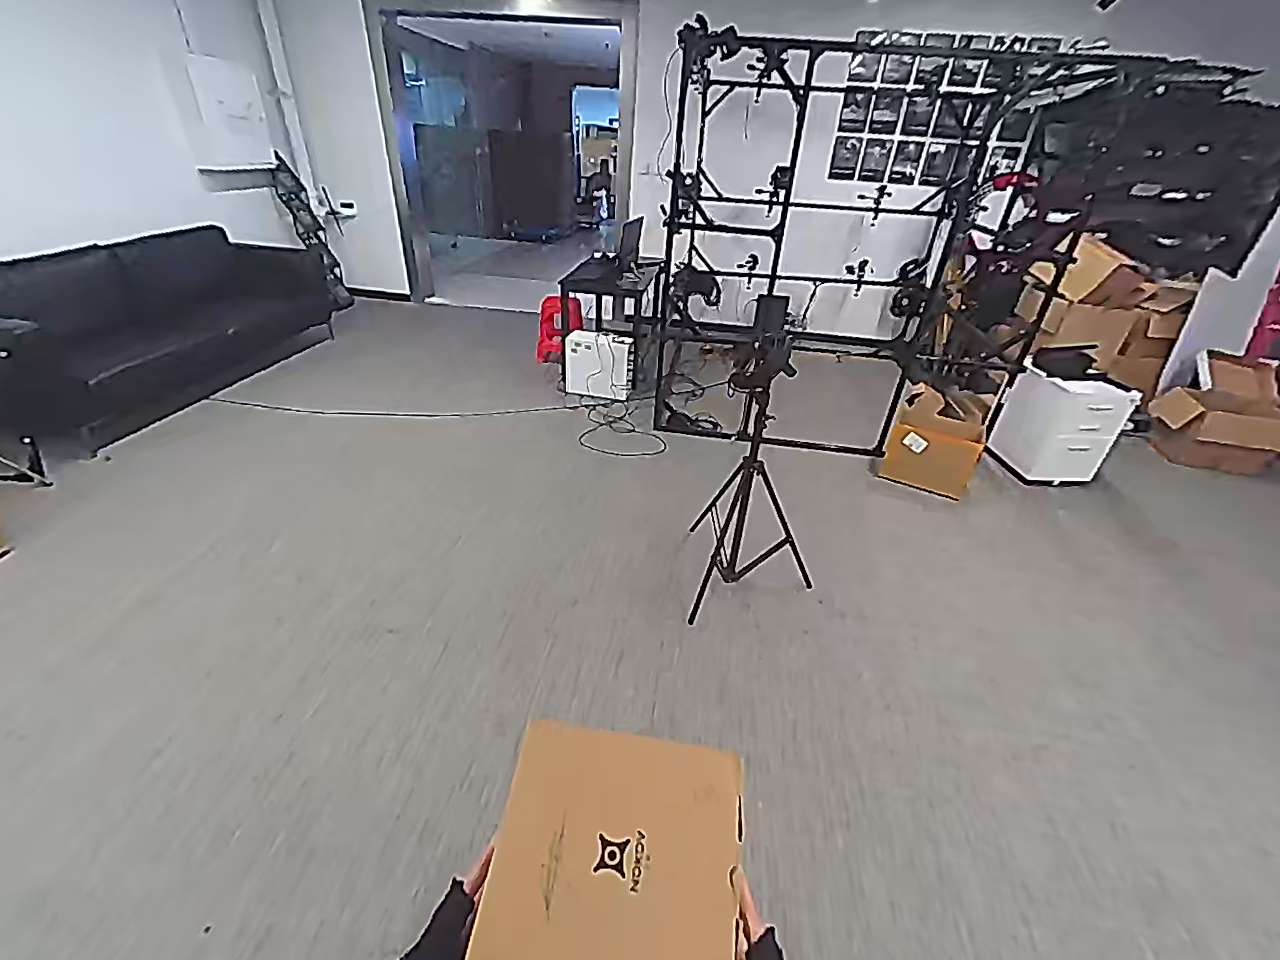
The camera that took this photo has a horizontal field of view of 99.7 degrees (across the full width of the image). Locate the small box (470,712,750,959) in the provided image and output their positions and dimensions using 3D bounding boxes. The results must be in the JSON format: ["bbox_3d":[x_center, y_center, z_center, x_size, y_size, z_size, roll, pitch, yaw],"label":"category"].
[{"bbox_3d":[-0.015,0.311,0.437,0.179,0.176,0.168,7,48,3],"label":"small box"}]
